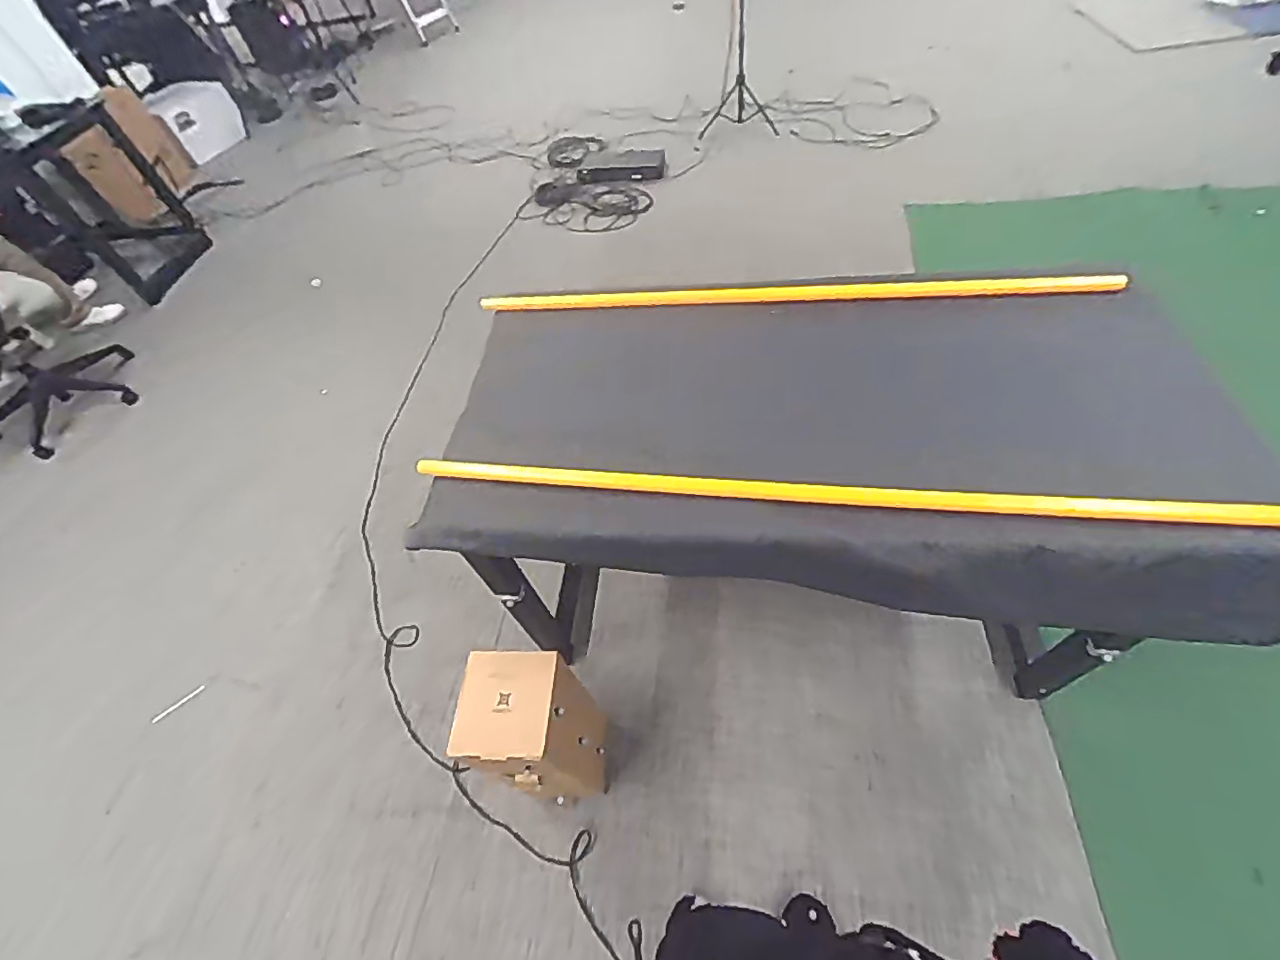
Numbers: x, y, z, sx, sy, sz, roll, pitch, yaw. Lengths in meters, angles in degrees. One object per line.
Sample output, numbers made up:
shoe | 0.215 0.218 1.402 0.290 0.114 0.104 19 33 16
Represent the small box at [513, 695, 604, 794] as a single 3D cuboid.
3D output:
small box | -0.179 0.610 1.242 0.168 0.176 0.179 -5 54 6
